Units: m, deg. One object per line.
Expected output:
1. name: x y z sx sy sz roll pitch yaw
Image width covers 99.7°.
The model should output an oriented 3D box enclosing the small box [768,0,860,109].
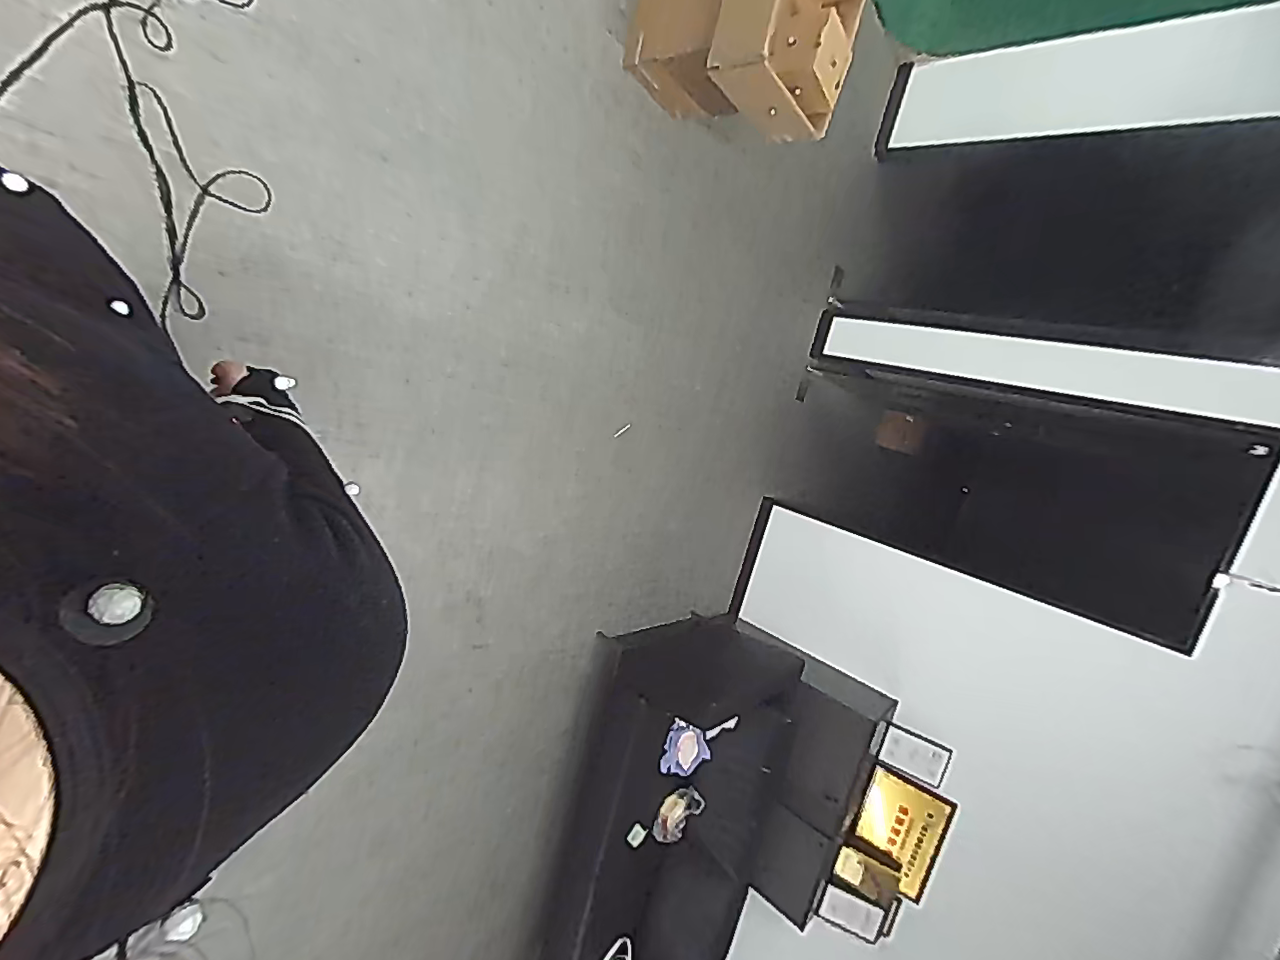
1. small box: 0.491 -1.193 1.535 0.179 0.176 0.168 16 96 -50
